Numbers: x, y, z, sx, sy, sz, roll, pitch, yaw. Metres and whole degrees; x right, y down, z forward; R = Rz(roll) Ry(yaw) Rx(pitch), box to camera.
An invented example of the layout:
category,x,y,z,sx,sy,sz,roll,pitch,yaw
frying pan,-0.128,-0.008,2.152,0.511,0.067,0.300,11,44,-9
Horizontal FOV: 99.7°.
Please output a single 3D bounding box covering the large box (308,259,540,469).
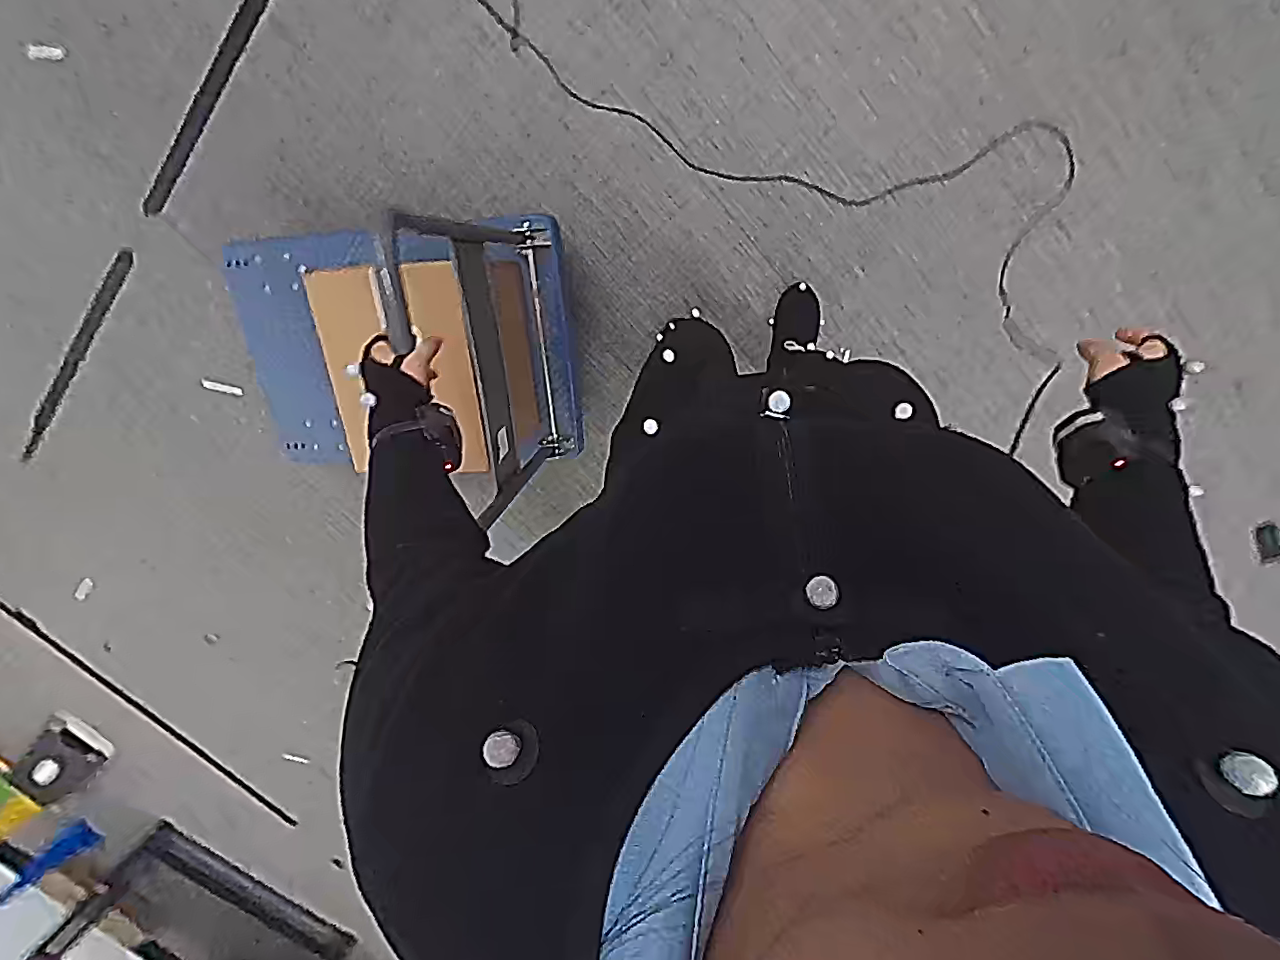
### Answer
category,x,y,z,sx,sy,sz,roll,pitch,yaw
large box,-0.439,-0.262,1.196,0.320,0.320,0.408,0,111,9
